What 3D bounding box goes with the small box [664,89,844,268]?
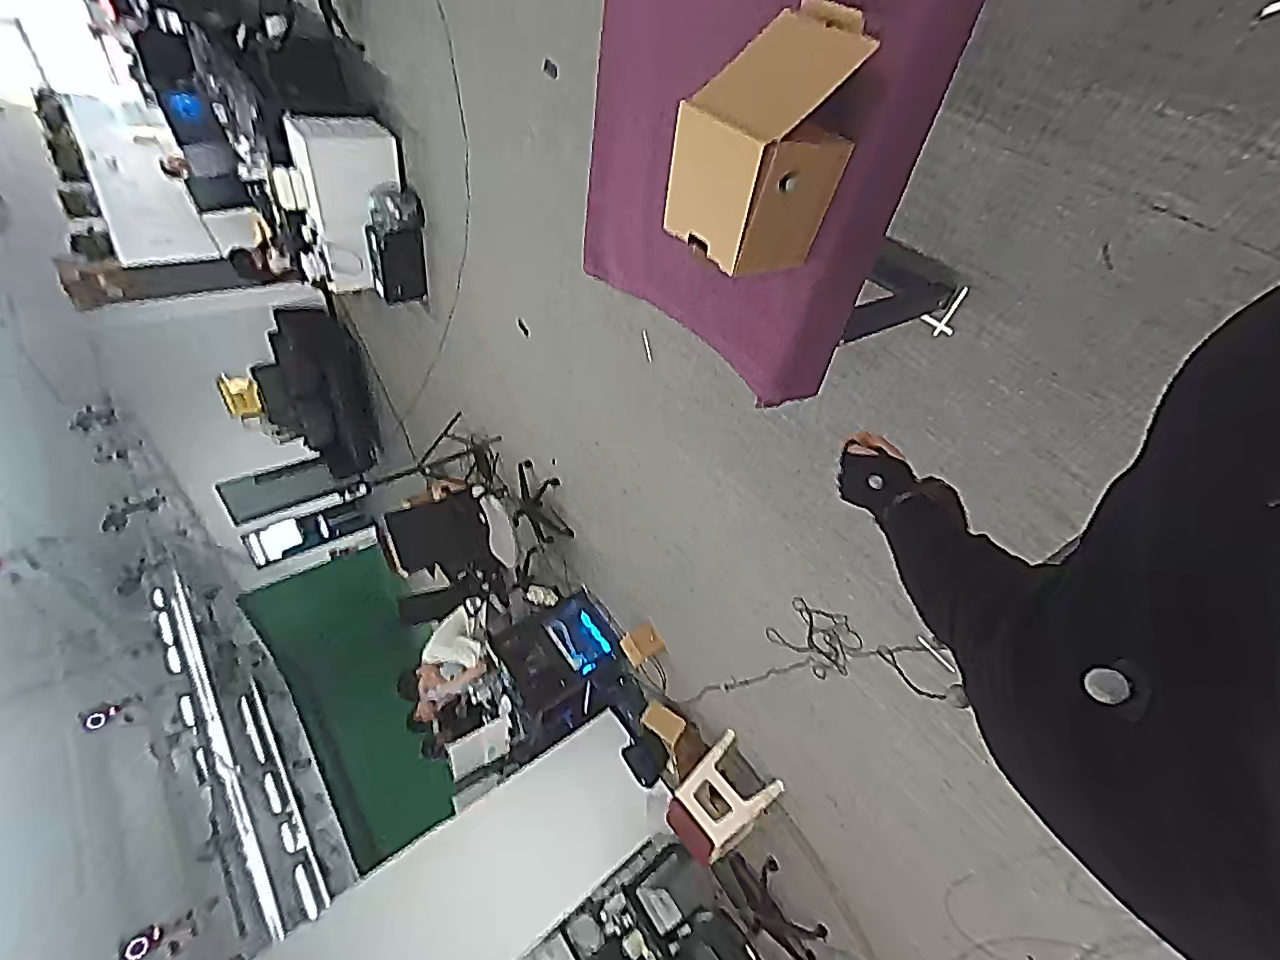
[{"bbox_3d":[0.165,-0.439,0.791,0.168,0.176,0.179,49,144,28],"label":"small box"}]
